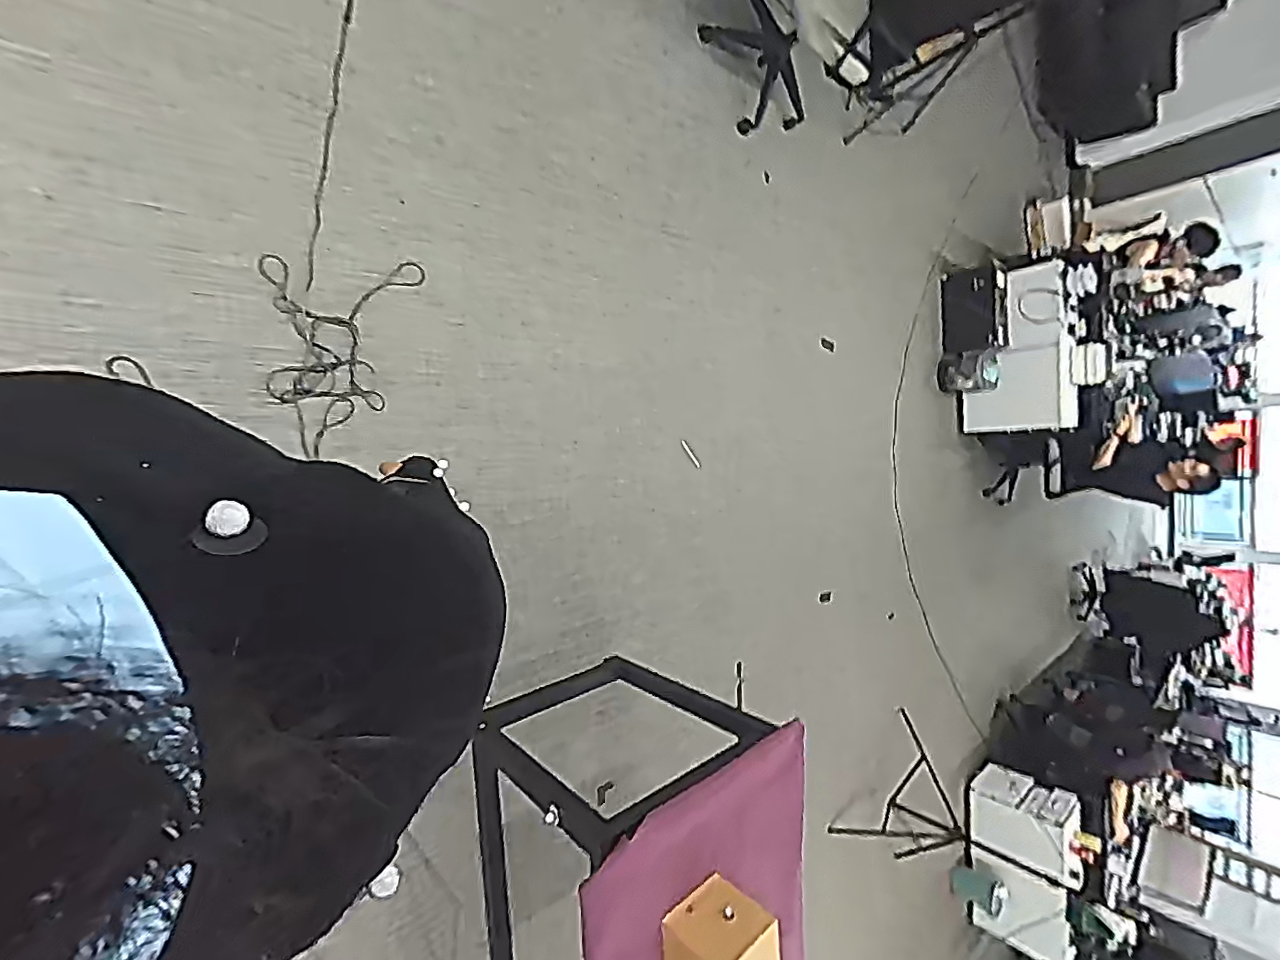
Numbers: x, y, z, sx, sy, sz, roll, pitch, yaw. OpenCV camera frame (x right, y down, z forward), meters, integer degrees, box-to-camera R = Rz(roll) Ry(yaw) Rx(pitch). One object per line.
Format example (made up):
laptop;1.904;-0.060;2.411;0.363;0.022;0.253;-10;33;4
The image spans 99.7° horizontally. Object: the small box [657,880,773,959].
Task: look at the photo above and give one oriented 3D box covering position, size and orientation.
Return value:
small box;0.149;0.957;1.088;0.168;0.176;0.179;-9;97;-40
